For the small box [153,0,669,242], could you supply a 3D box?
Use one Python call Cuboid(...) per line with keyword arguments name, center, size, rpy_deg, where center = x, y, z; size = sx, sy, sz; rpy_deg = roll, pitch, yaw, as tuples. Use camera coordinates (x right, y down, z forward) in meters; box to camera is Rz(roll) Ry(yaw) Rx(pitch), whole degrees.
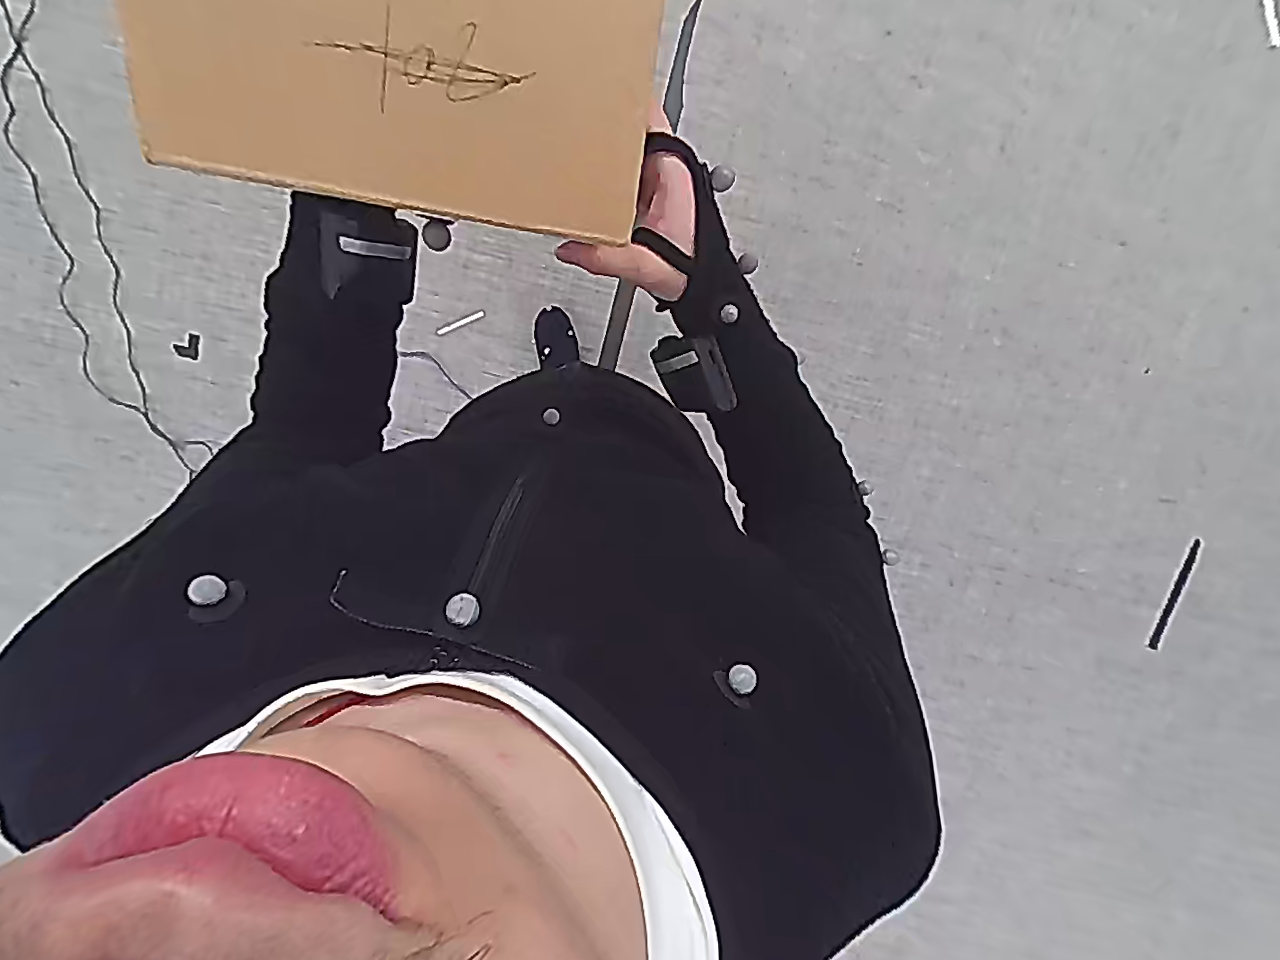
Cuboid(name="small box", center=(-0.080, -0.216, 0.245), size=(0.168, 0.176, 0.179), rpy_deg=(5, 114, -11))
